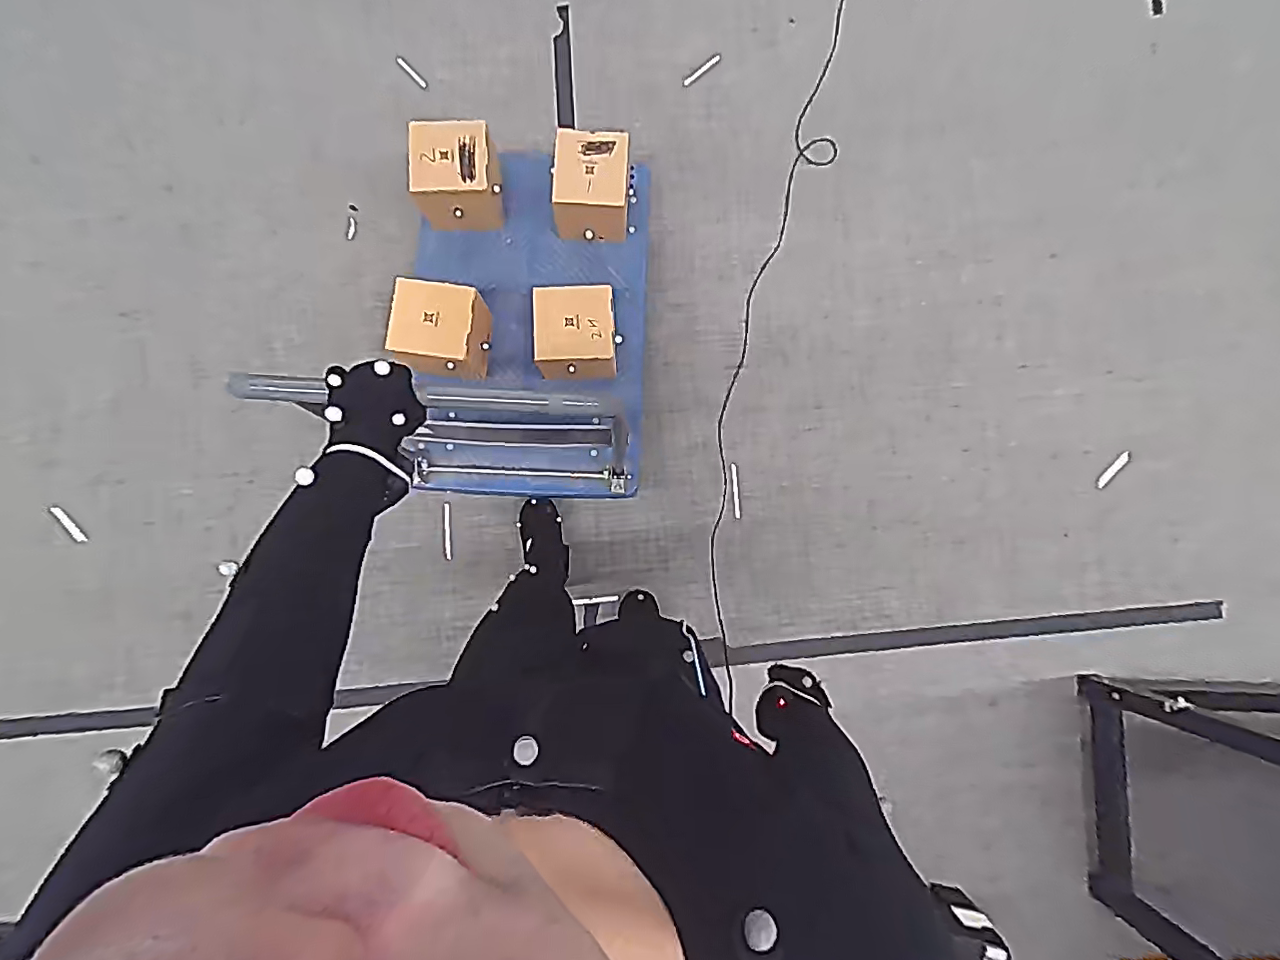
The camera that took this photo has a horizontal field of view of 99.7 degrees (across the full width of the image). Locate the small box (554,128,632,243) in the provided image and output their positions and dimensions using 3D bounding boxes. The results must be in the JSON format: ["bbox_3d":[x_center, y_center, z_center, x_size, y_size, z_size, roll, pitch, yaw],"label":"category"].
[{"bbox_3d":[-0.107,-0.696,1.291,0.168,0.176,0.179,3,86,-1],"label":"small box"}]

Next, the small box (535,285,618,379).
[{"bbox_3d":[-0.142,-0.338,1.261,0.179,0.176,0.168,-2,85,-1],"label":"small box"}]

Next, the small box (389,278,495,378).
[{"bbox_3d":[-0.452,-0.345,1.256,0.179,0.176,0.168,7,85,-2],"label":"small box"}]
